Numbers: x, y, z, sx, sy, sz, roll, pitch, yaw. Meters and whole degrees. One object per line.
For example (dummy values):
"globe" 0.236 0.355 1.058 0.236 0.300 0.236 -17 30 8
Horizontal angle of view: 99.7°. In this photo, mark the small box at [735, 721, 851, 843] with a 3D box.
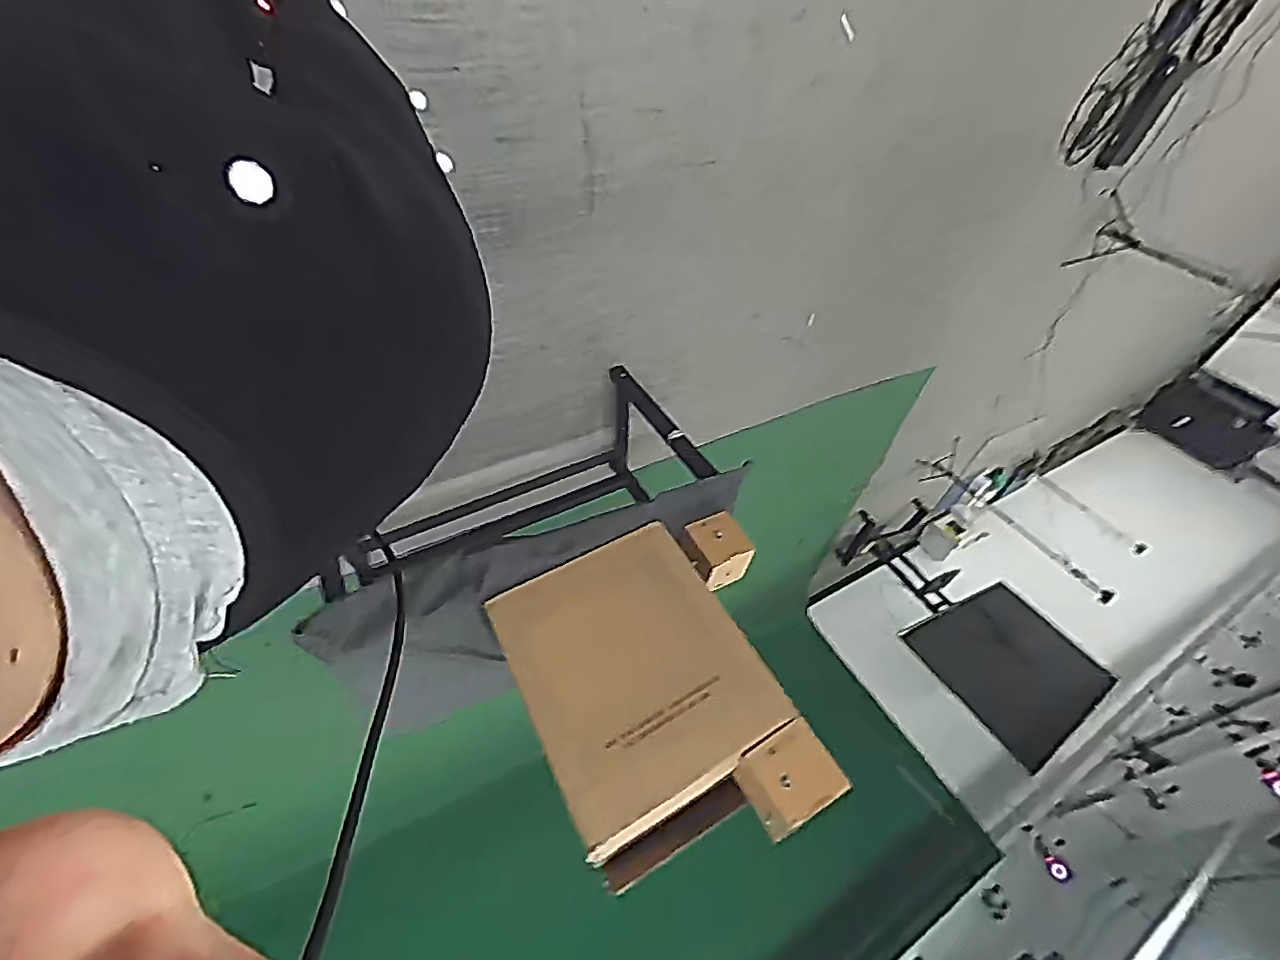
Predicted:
"small box" 0.333 0.674 1.216 0.168 0.176 0.179 -24 145 -19
